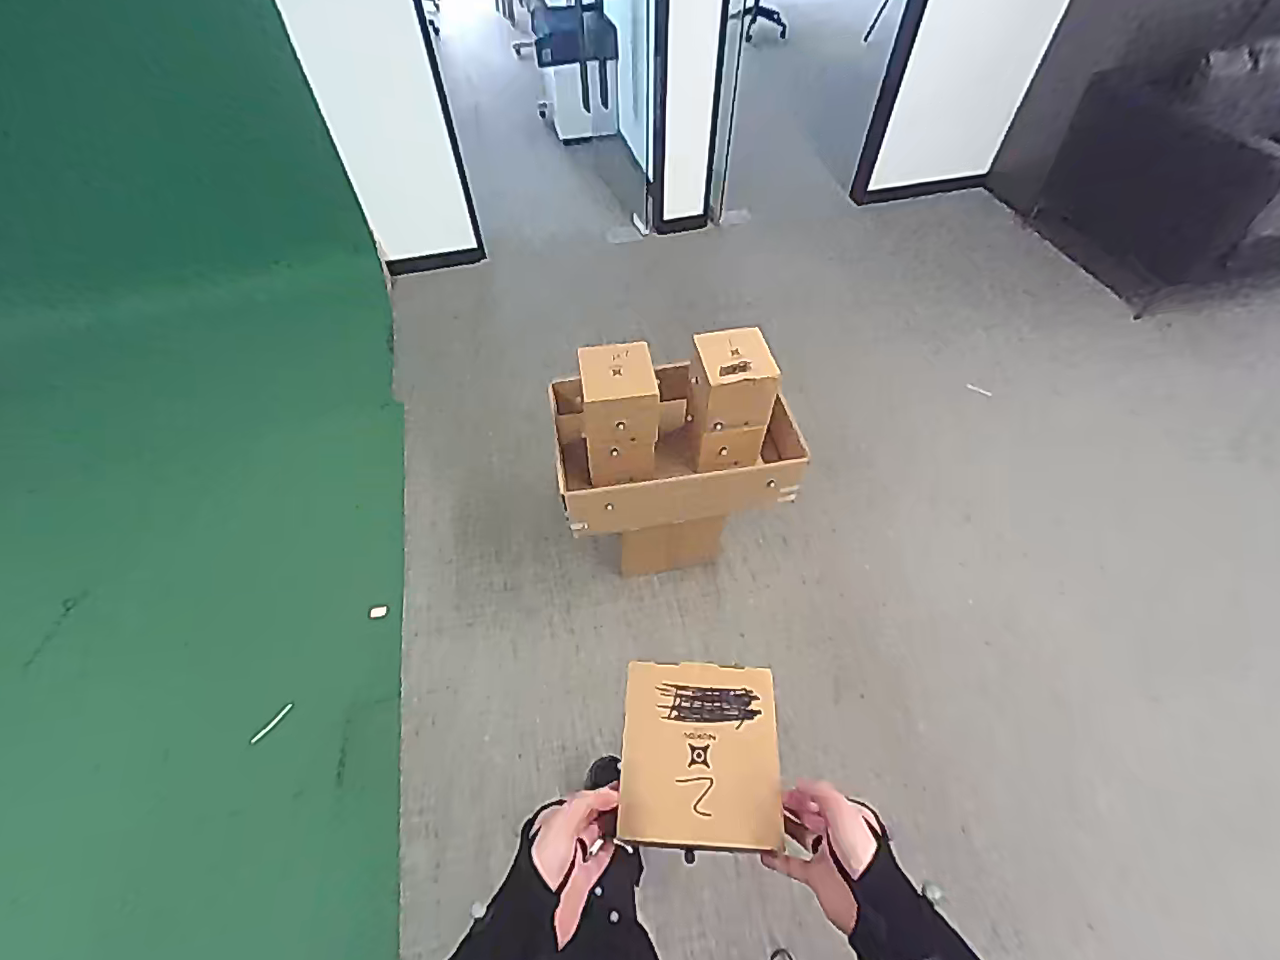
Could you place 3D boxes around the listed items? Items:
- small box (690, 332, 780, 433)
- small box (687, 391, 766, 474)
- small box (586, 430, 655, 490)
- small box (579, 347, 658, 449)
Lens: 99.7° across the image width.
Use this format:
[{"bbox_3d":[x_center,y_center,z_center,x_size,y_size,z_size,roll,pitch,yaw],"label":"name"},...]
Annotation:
[{"bbox_3d":[0.222,-0.228,1.309,0.168,0.176,0.179,-8,53,-6],"label":"small box"},{"bbox_3d":[0.223,-0.129,1.441,0.168,0.176,0.179,-8,53,-5],"label":"small box"},{"bbox_3d":[-0.053,-0.095,1.416,0.168,0.176,0.179,-7,53,-3],"label":"small box"},{"bbox_3d":[-0.050,-0.187,1.280,0.168,0.176,0.179,-7,54,-5],"label":"small box"}]
